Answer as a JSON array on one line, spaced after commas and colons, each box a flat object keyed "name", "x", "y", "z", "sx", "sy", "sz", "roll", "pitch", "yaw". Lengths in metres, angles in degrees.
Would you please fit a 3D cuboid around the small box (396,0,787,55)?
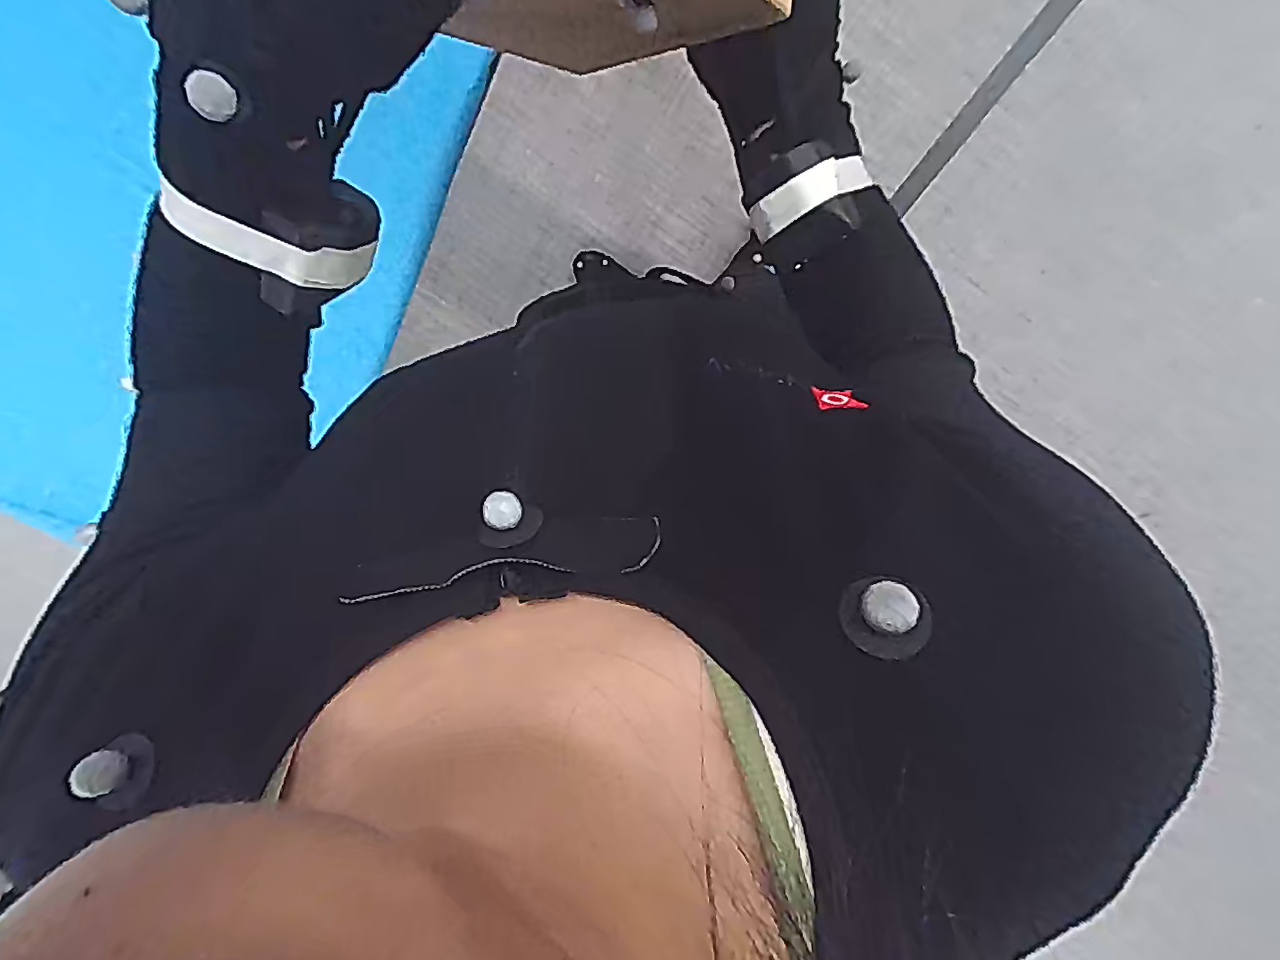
[{"name": "small box", "x": -0.020, "y": -0.339, "z": 0.267, "sx": 0.168, "sy": 0.176, "sz": 0.179, "roll": 12, "pitch": 119, "yaw": 29}]
